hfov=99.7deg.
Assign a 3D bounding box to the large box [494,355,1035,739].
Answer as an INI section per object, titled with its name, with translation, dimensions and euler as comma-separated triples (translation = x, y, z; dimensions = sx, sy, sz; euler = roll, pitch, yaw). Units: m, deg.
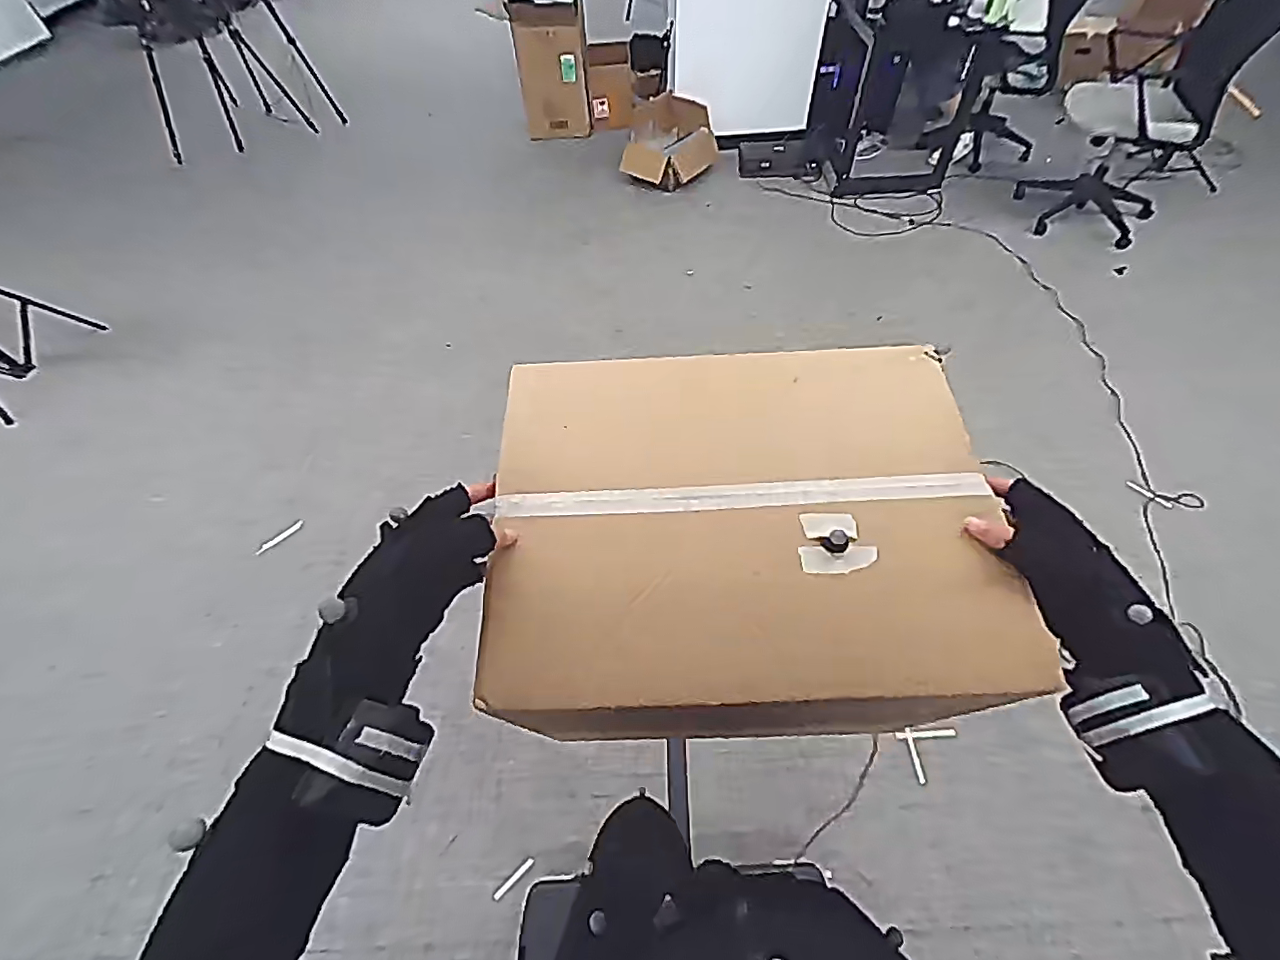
[large box]
translation = 0.087, 0.093, 0.593
dimensions = 0.408, 0.320, 0.320
euler = -3, 61, 1
